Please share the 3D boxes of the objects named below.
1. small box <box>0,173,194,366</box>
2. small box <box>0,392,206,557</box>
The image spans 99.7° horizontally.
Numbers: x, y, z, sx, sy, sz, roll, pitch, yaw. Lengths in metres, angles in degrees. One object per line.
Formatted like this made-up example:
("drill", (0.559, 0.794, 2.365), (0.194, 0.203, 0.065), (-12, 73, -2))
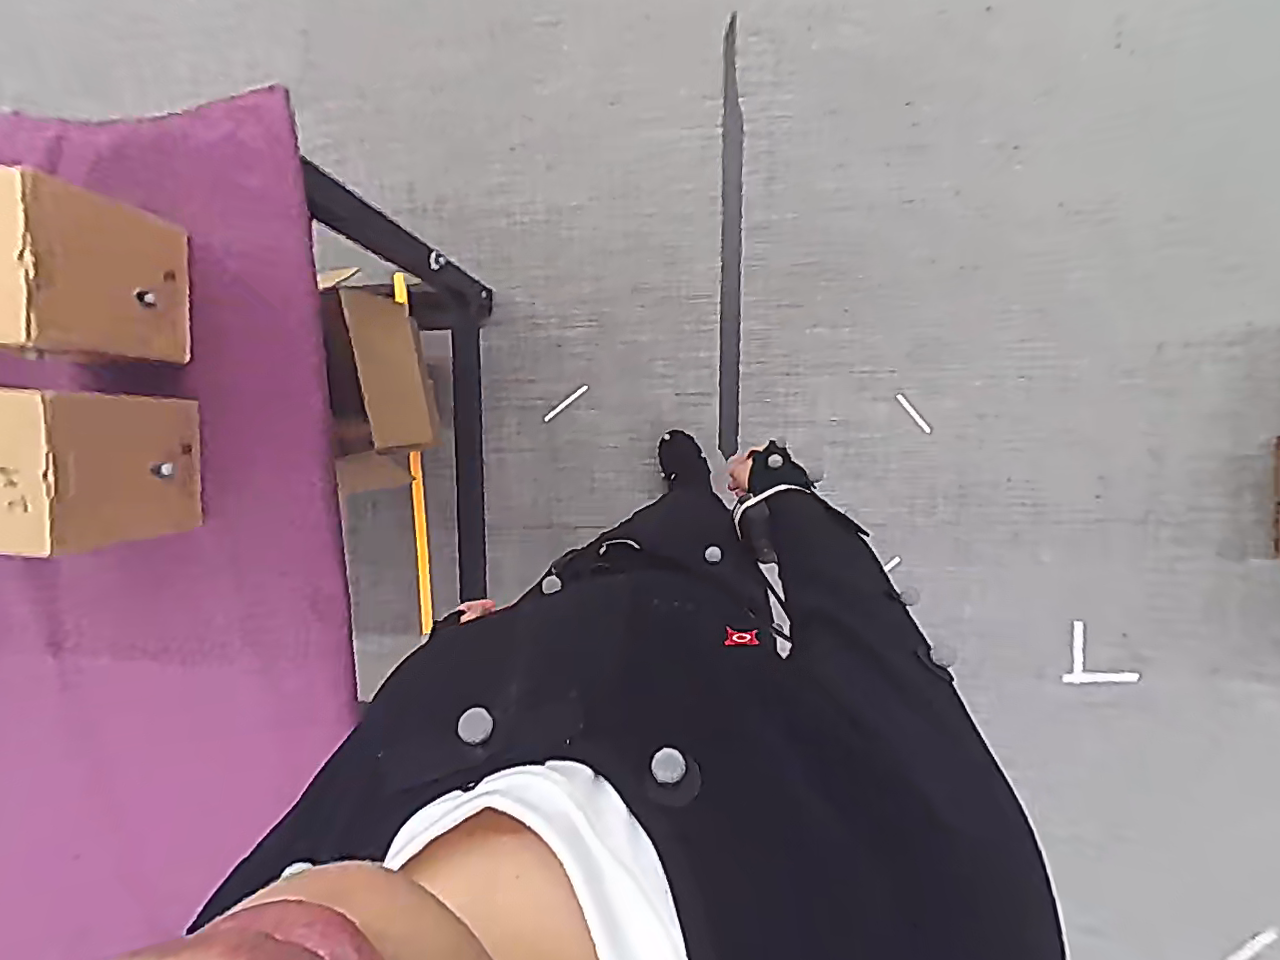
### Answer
("small box", (-0.659, -0.223, 0.611), (0.179, 0.176, 0.168), (3, 95, 6))
("small box", (-0.656, -0.013, 0.627), (0.179, 0.176, 0.168), (3, 95, 6))
